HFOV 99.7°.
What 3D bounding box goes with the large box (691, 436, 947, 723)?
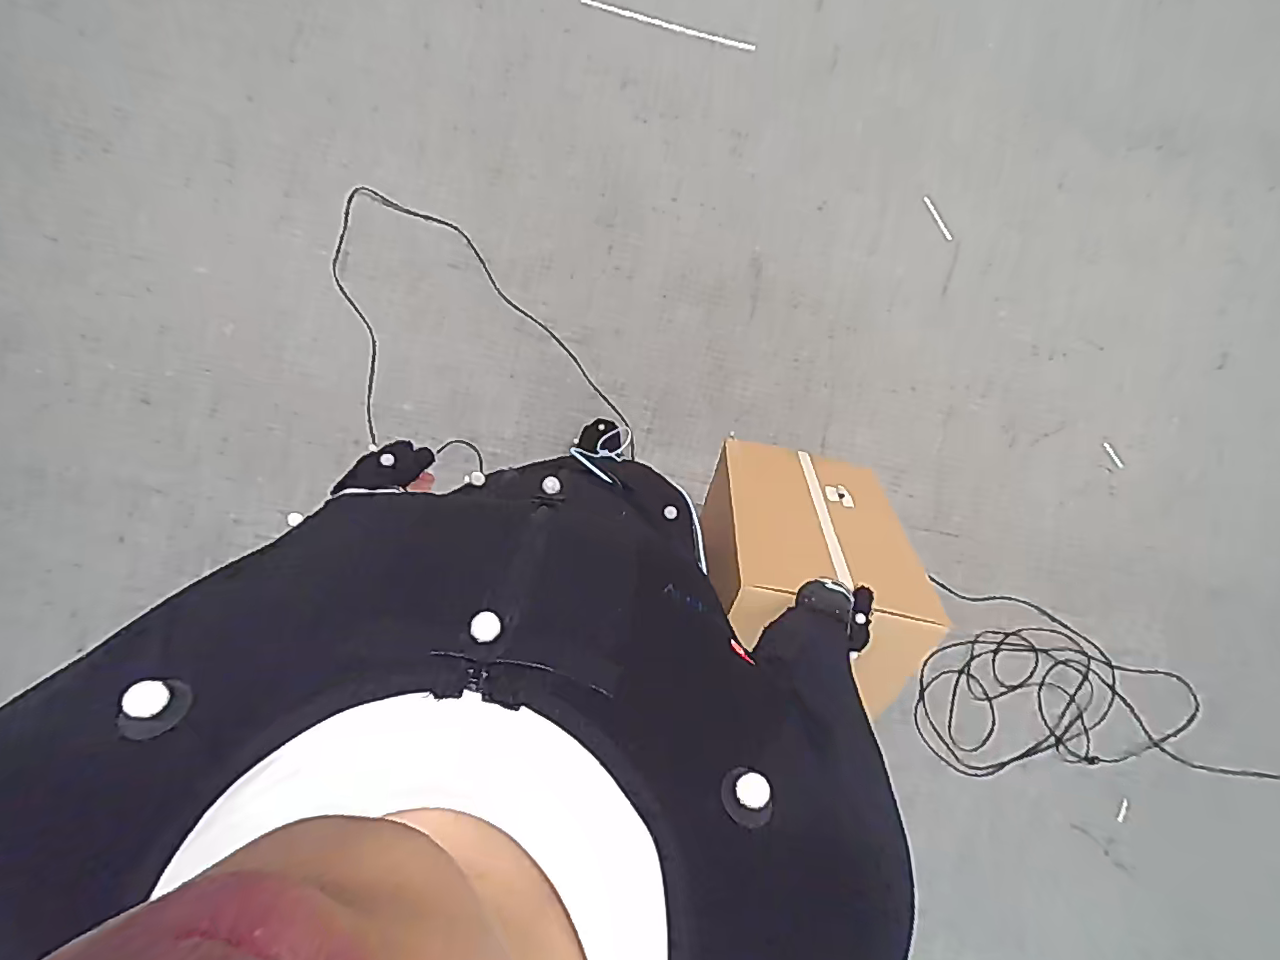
[{"bbox_3d":[0.280,0.175,1.015,0.320,0.408,0.320,13,125,-4],"label":"large box"}]
